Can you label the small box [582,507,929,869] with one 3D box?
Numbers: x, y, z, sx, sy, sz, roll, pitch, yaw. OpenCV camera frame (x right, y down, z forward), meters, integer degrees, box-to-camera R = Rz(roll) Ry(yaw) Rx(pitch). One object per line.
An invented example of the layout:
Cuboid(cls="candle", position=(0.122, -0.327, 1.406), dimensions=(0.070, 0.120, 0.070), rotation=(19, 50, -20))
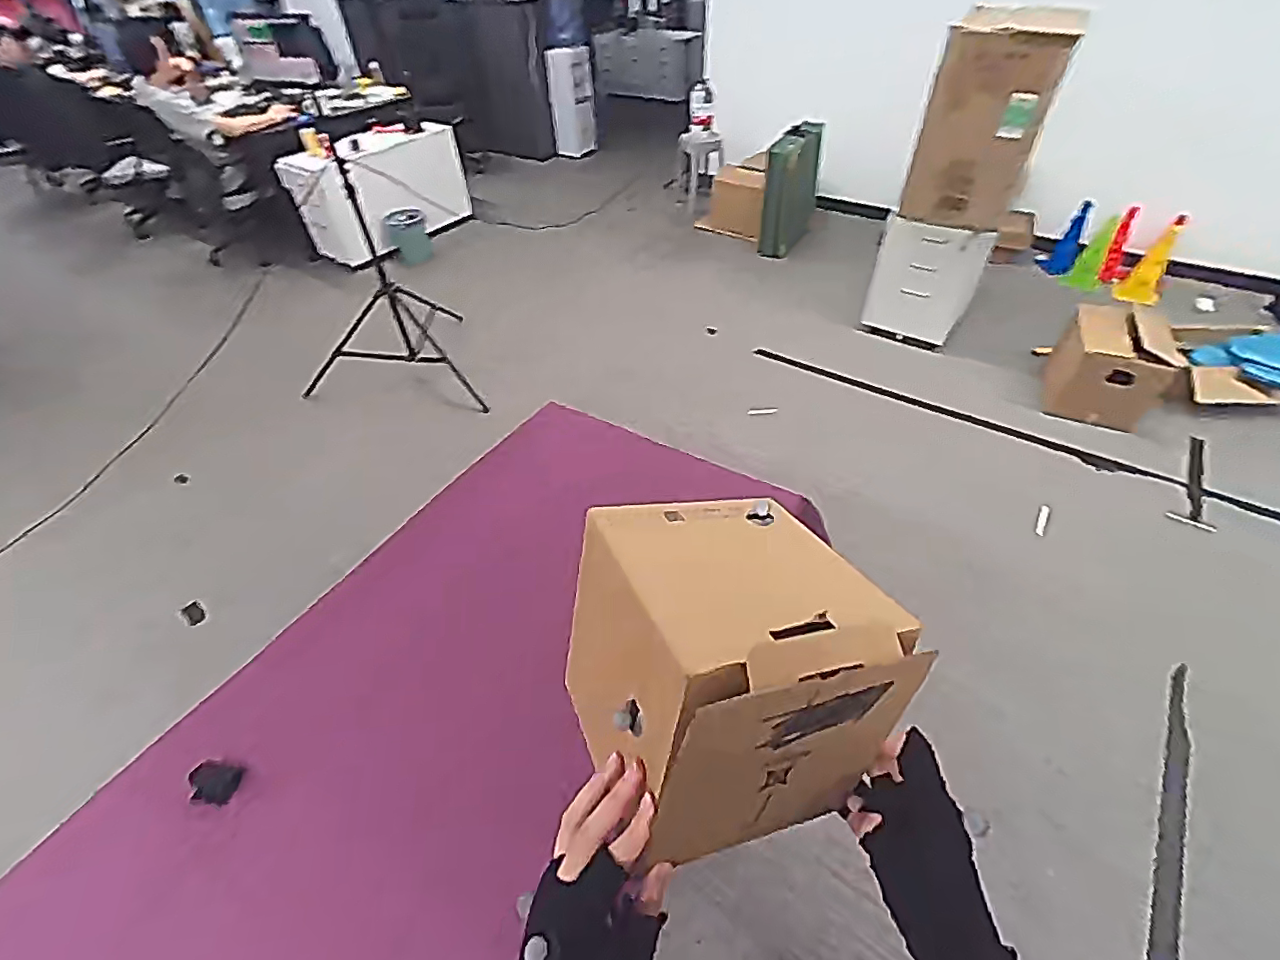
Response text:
Cuboid(cls="small box", position=(0.062, 0.128, 0.400), dimensions=(0.168, 0.179, 0.176), rotation=(-2, 27, -23))
